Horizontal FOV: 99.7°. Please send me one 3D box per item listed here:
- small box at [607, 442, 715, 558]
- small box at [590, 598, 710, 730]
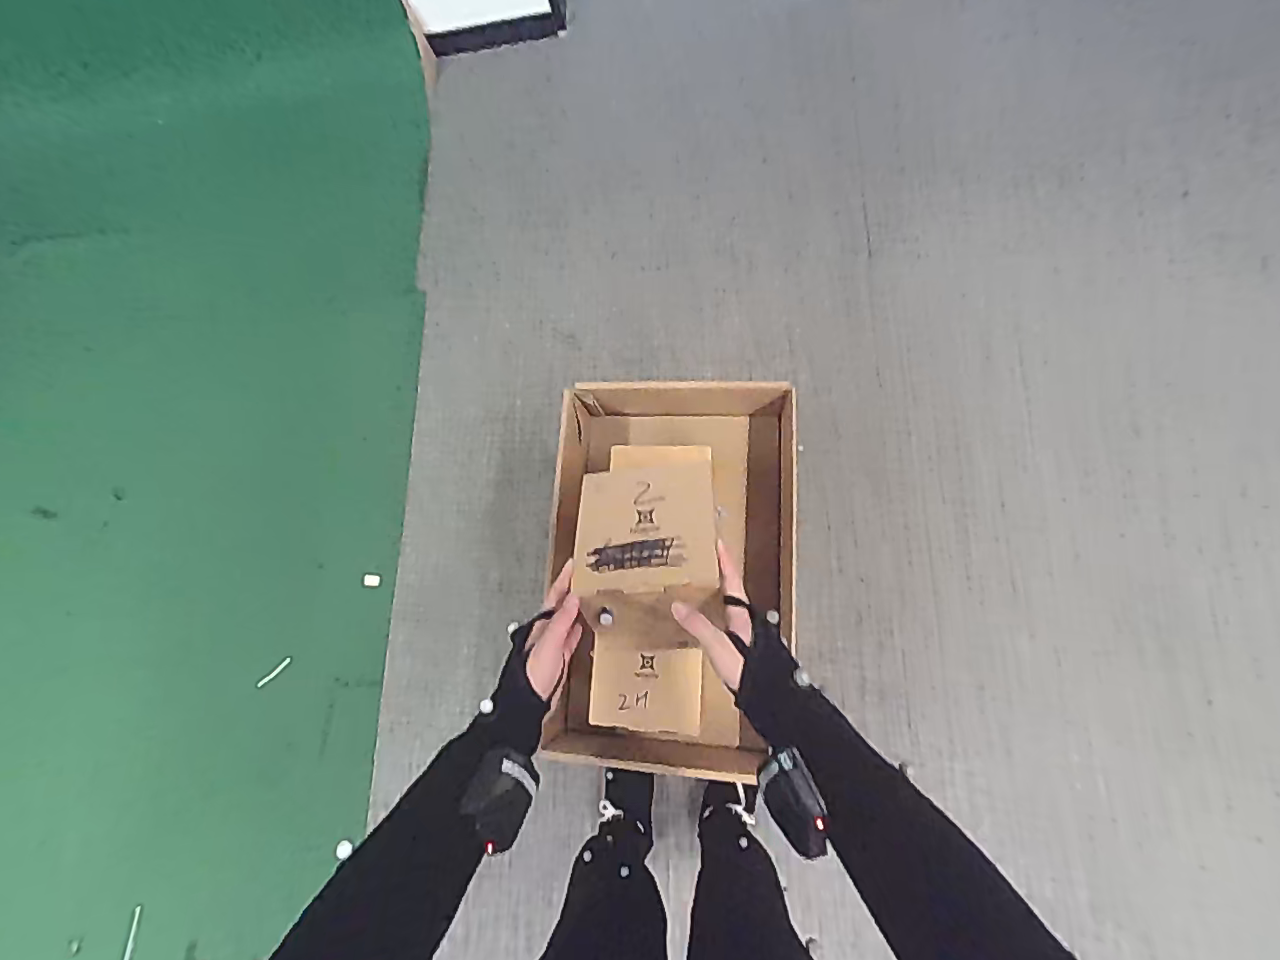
[{"bbox_3d":[0.043,0.039,0.935,0.168,0.176,0.179,0,79,10],"label":"small box"},{"bbox_3d":[0.025,0.288,0.880,0.168,0.176,0.179,2,78,11],"label":"small box"}]
